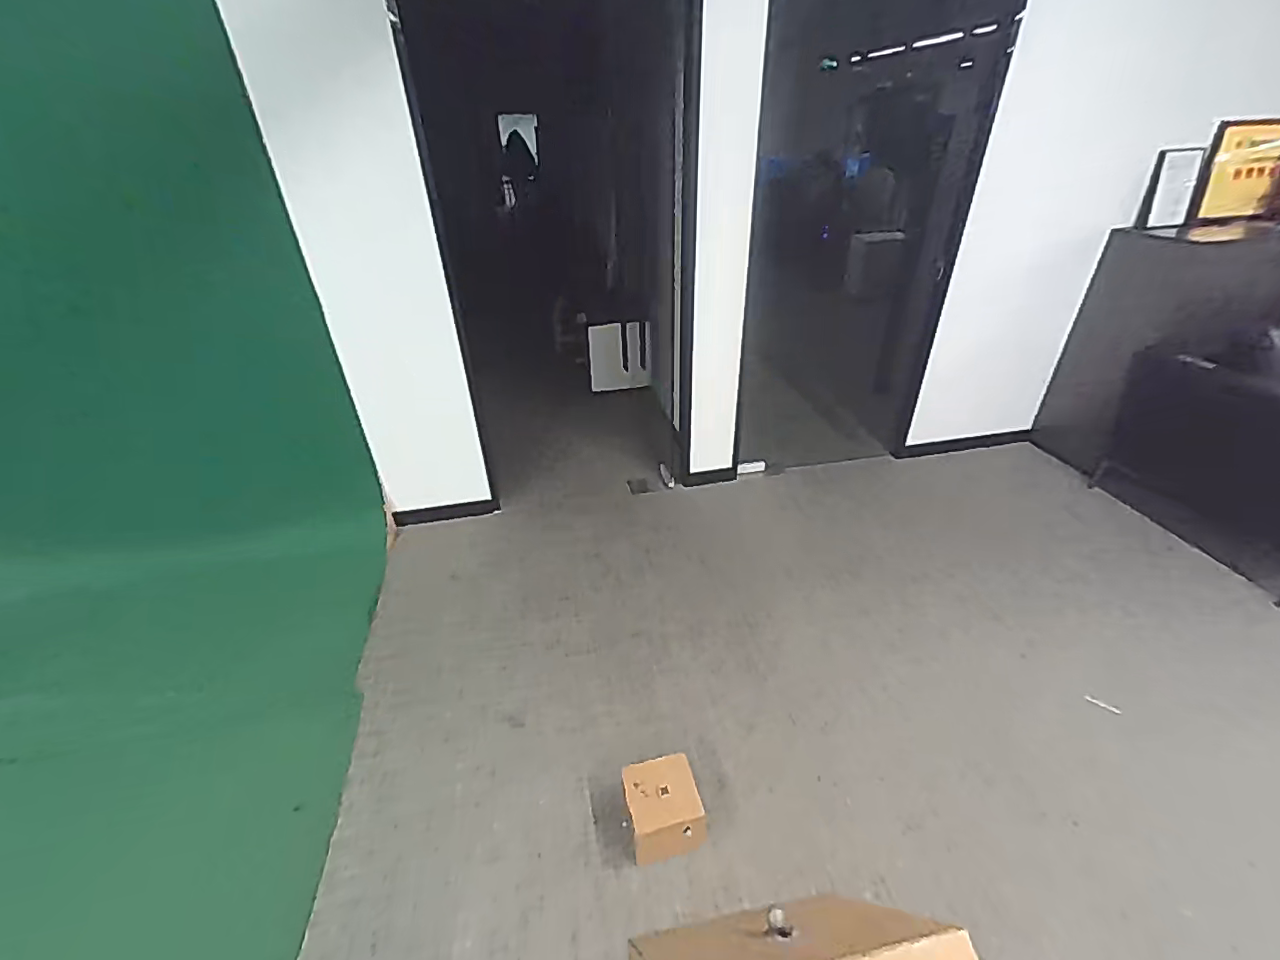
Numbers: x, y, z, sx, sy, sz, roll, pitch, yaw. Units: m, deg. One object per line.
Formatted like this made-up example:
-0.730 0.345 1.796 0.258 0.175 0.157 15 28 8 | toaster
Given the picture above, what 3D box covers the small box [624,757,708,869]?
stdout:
0.061 0.846 1.376 0.179 0.176 0.168 -10 34 -12 | small box
